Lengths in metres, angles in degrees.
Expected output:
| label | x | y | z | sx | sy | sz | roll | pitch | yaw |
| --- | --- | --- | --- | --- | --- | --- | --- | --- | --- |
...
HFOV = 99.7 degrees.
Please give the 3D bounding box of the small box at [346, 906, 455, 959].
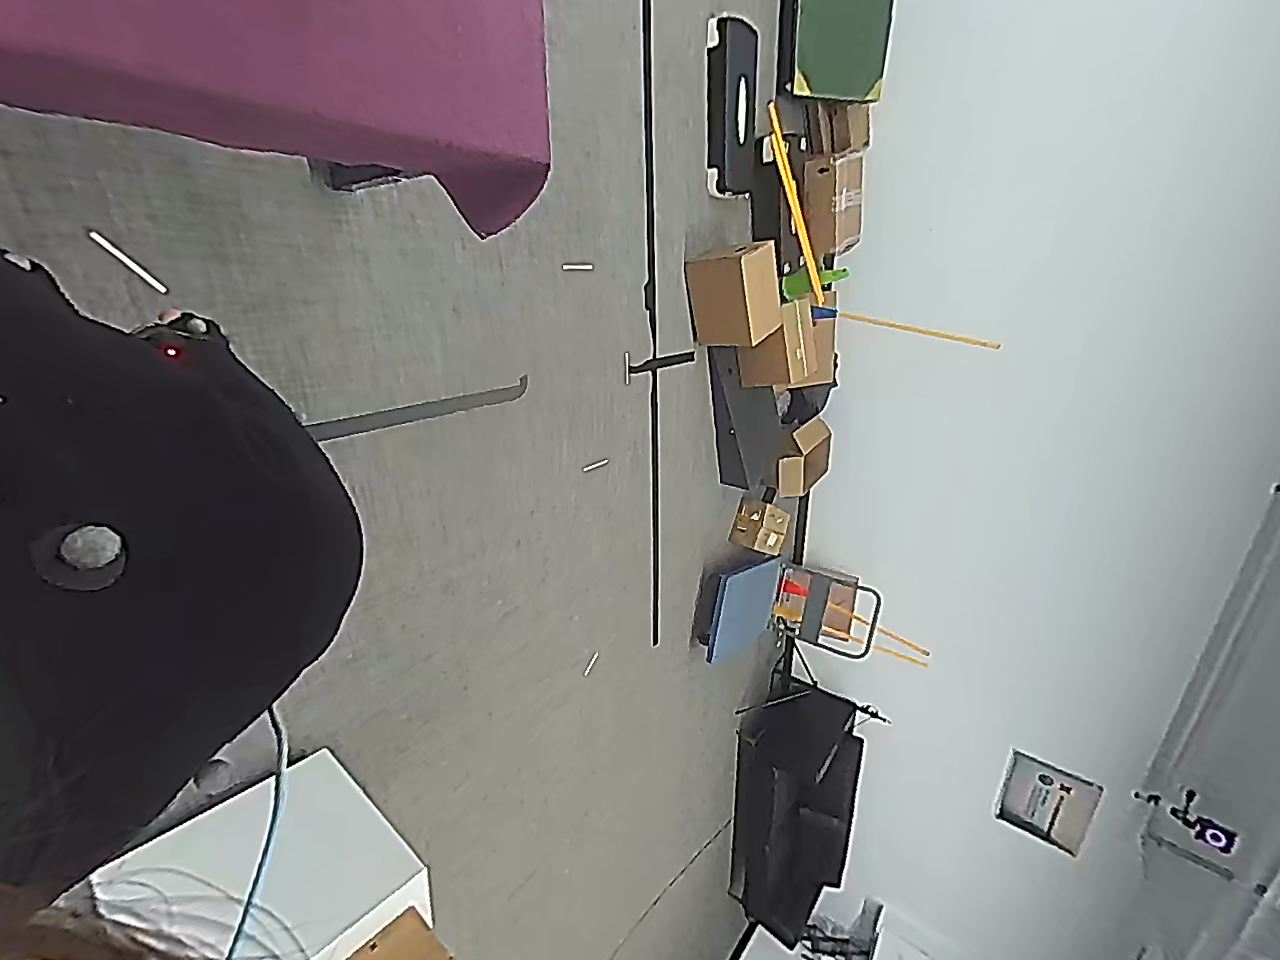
| label | x | y | z | sx | sy | sz | roll | pitch | yaw |
| --- | --- | --- | --- | --- | --- | --- | --- | --- | --- |
| small box | -0.525 | 1.106 | 1.190 | 0.168 | 0.176 | 0.179 | -17 | 117 | -50 |
